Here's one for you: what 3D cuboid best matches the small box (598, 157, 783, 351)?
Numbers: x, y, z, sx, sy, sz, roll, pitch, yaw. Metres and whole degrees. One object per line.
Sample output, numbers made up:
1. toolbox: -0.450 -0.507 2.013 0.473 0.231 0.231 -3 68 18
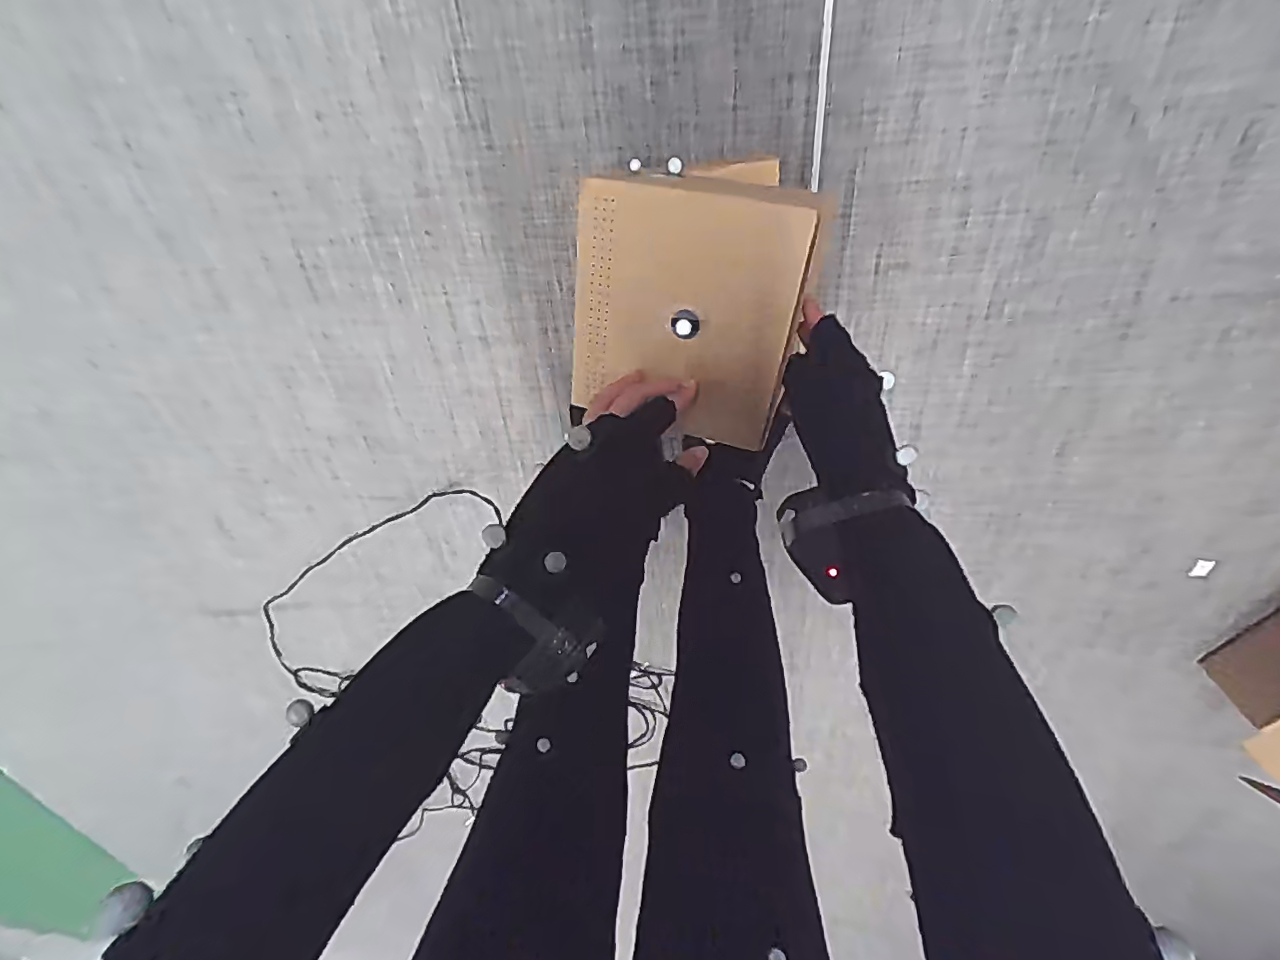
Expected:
1. small box: 0.063 -0.257 0.609 0.179 0.176 0.168 -2 122 10
